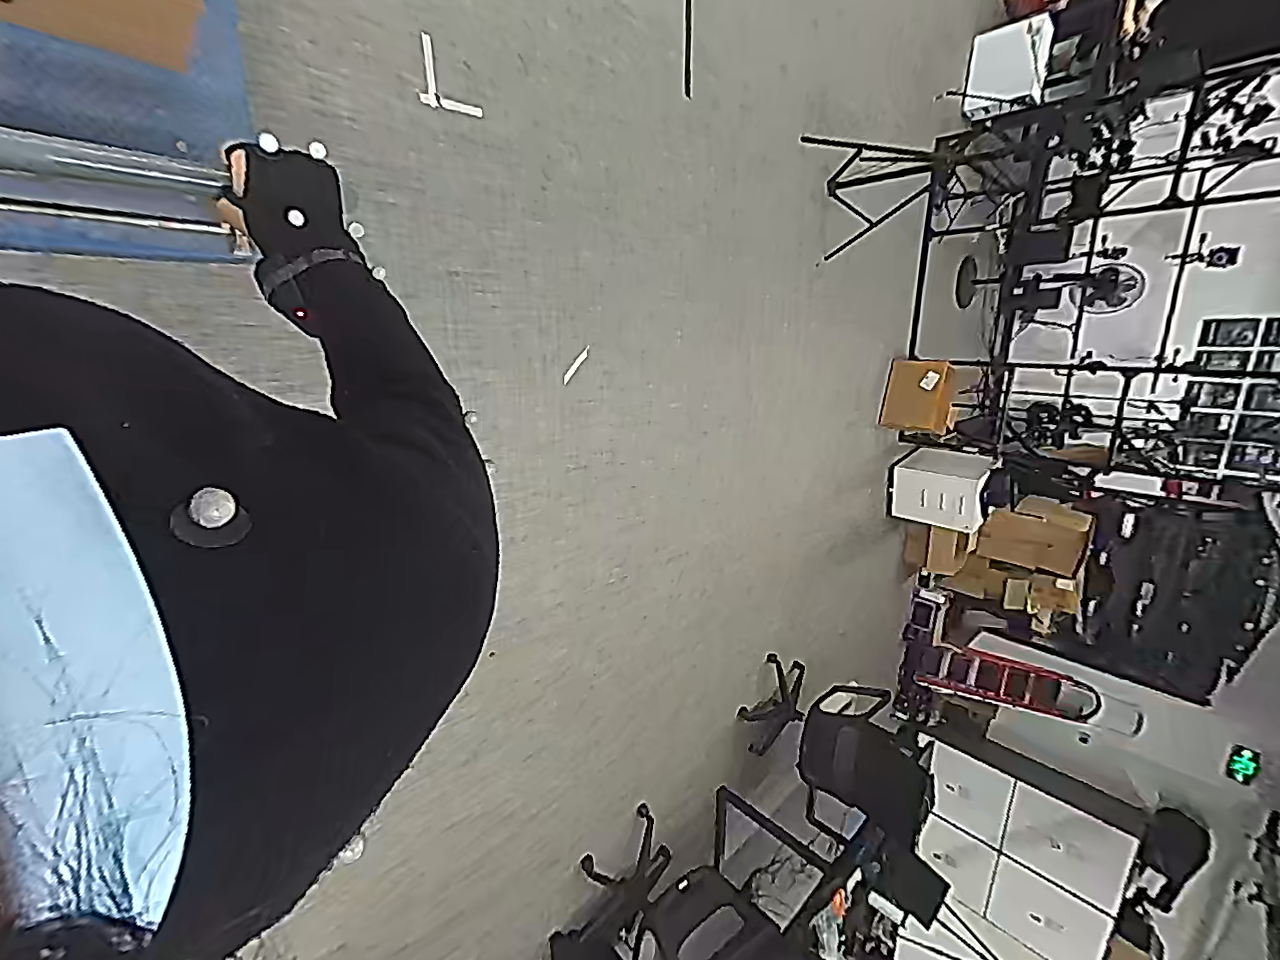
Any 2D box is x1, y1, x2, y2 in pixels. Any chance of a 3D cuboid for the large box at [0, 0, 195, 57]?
[{"bbox_3d":[-0.845,-0.816,0.672,0.408,0.320,0.320,-11,108,-42],"label":"large box"}]
